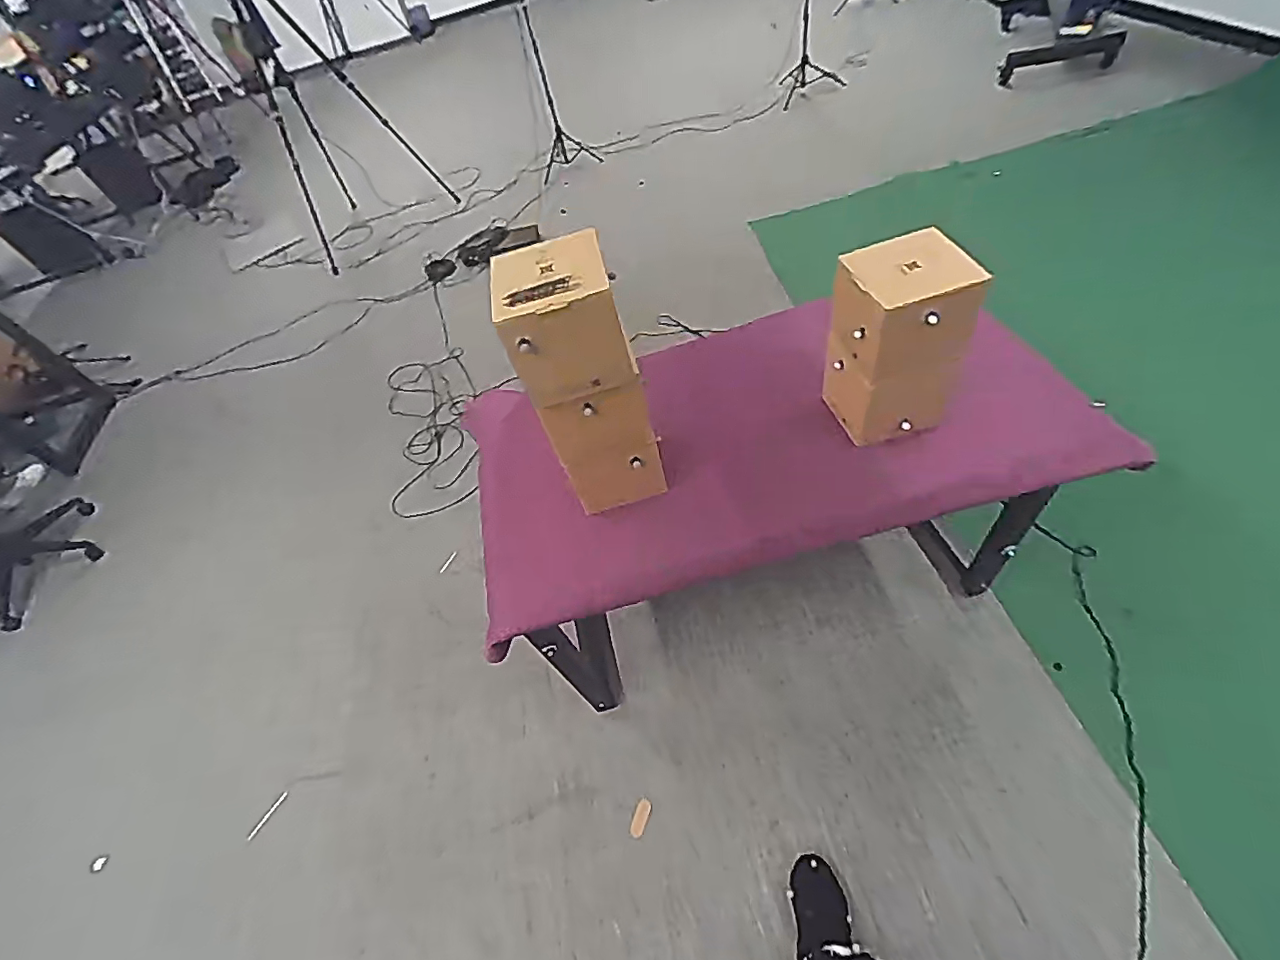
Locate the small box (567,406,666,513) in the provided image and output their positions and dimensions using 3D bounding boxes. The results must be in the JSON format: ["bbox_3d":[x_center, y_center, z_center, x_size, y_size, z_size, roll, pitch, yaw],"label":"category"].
[{"bbox_3d":[-0.050,-0.058,1.097,0.179,0.176,0.168,-16,51,2],"label":"small box"}]

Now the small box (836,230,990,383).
[{"bbox_3d":[0.454,-0.293,0.936,0.179,0.176,0.168,-17,52,2],"label":"small box"}]

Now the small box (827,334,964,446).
[{"bbox_3d":[0.486,-0.195,1.063,0.179,0.176,0.168,-18,51,1],"label":"small box"}]

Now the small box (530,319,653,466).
[{"bbox_3d":[-0.081,-0.152,0.968,0.179,0.176,0.168,-17,52,2],"label":"small box"}]
